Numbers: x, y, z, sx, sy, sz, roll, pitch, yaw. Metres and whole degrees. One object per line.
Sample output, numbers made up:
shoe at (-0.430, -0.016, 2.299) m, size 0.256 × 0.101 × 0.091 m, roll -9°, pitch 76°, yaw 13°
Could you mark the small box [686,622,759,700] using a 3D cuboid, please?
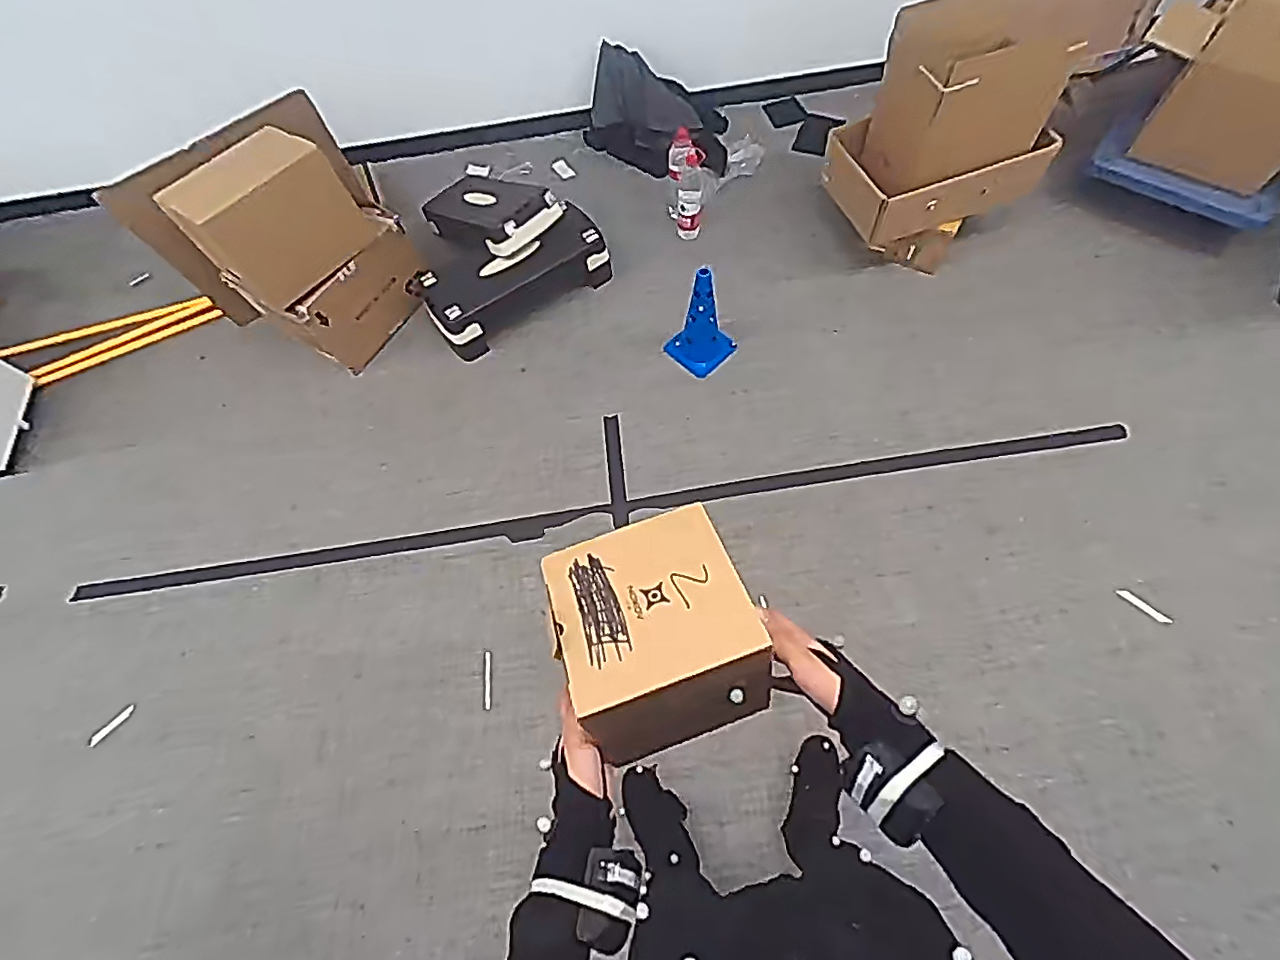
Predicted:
small box at (0.210, 0.479, 1.413) m, size 0.168 × 0.176 × 0.179 m, roll -5°, pitch 65°, yaw 2°
